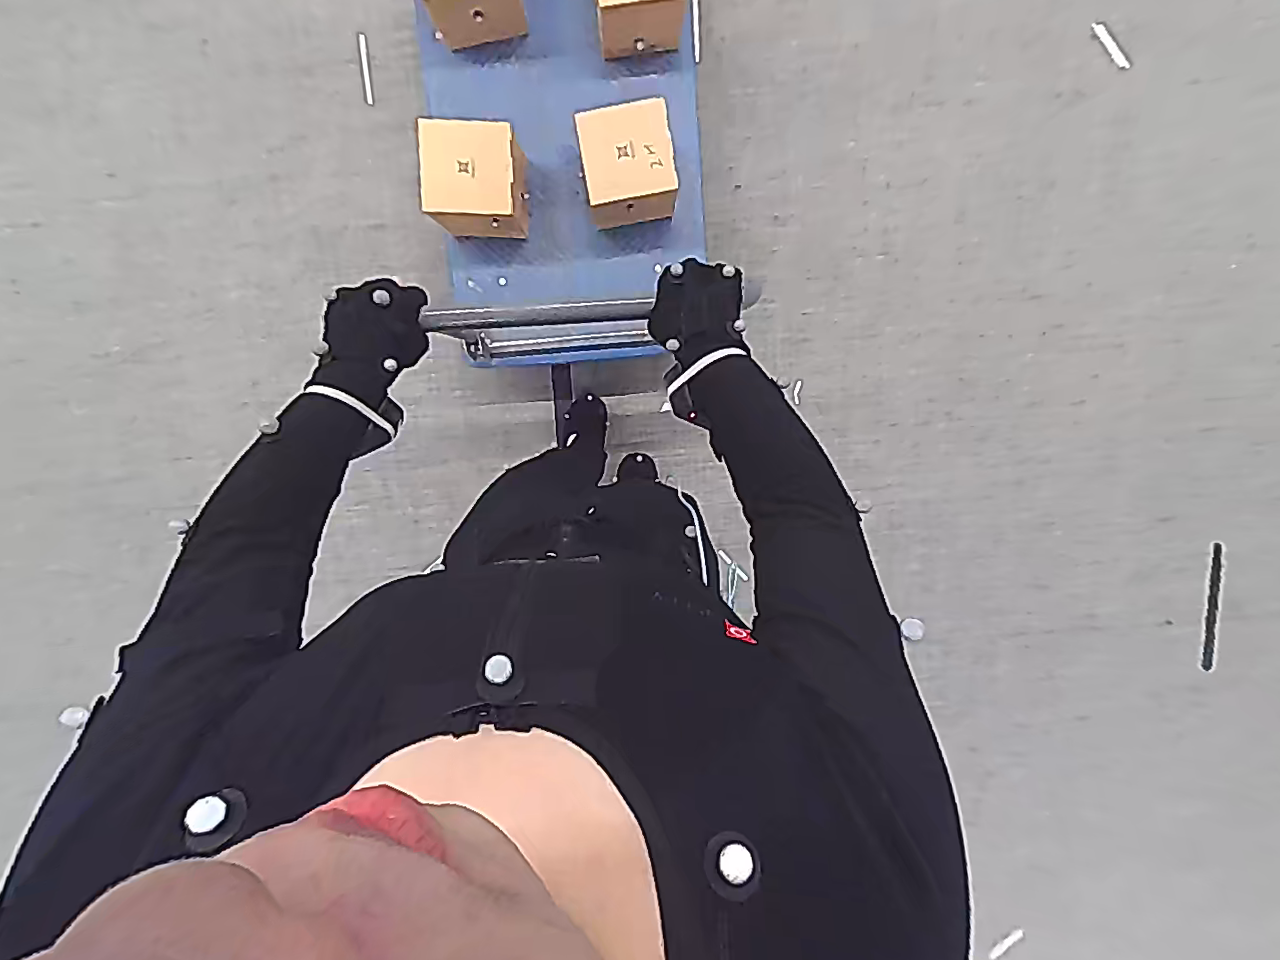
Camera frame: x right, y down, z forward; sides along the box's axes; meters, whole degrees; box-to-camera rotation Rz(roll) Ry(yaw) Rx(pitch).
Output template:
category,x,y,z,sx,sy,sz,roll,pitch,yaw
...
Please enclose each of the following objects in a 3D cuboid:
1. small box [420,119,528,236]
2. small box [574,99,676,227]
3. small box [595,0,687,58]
category,x,y,z,sx,sy,sz,roll,pitch,yaw
small box,-0.332,-0.609,1.109,0.179,0.176,0.168,1,100,-3
small box,-0.026,-0.636,1.107,0.179,0.176,0.168,-10,100,1
small box,-0.006,-0.969,1.047,0.168,0.176,0.179,-7,101,0
